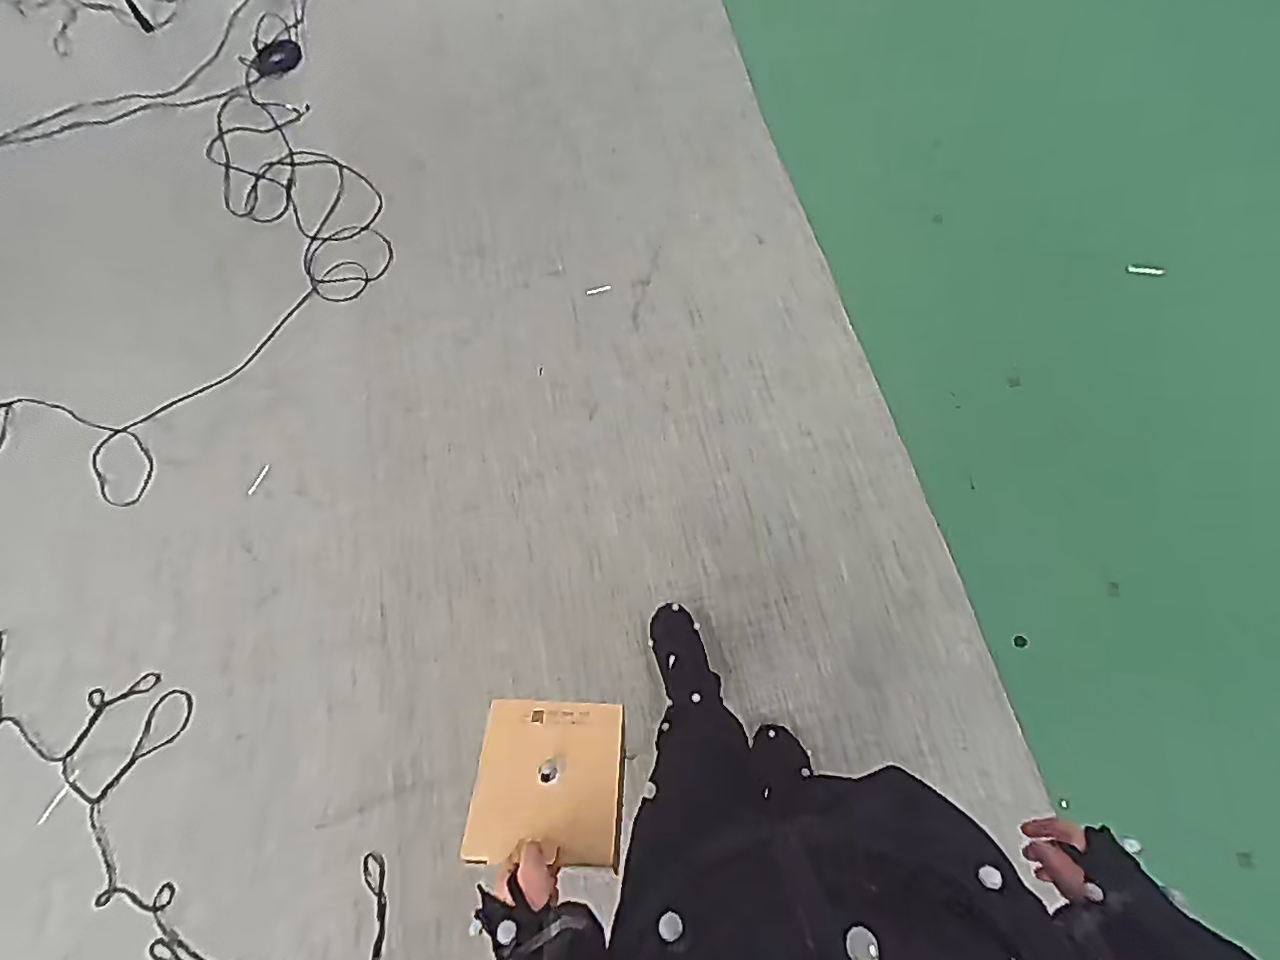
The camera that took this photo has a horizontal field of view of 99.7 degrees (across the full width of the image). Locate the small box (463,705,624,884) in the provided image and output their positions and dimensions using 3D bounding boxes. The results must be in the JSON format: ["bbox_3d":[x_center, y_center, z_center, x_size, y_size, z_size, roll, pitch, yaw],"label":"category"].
[{"bbox_3d":[-0.108,0.397,0.684,0.168,0.179,0.176,1,49,1],"label":"small box"}]
